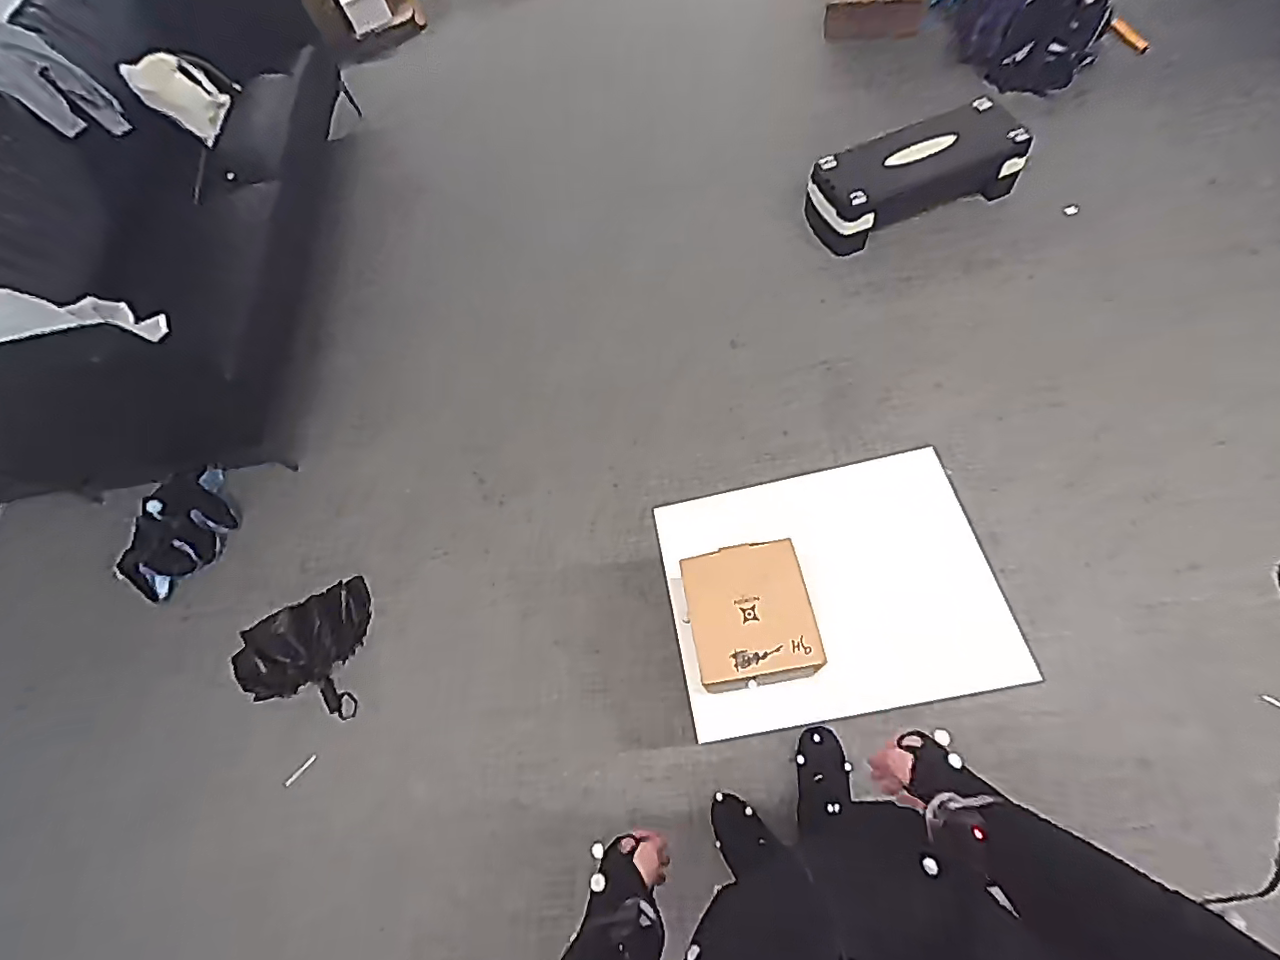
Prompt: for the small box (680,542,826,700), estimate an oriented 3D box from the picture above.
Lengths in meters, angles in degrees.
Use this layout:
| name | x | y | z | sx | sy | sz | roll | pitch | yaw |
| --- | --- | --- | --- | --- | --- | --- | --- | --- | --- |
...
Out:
| name | x | y | z | sx | sy | sz | roll | pitch | yaw |
| --- | --- | --- | --- | --- | --- | --- | --- | --- | --- |
| small box | 0.159 | 0.215 | 0.805 | 0.168 | 0.176 | 0.179 | -12 | 62 | 4 |
